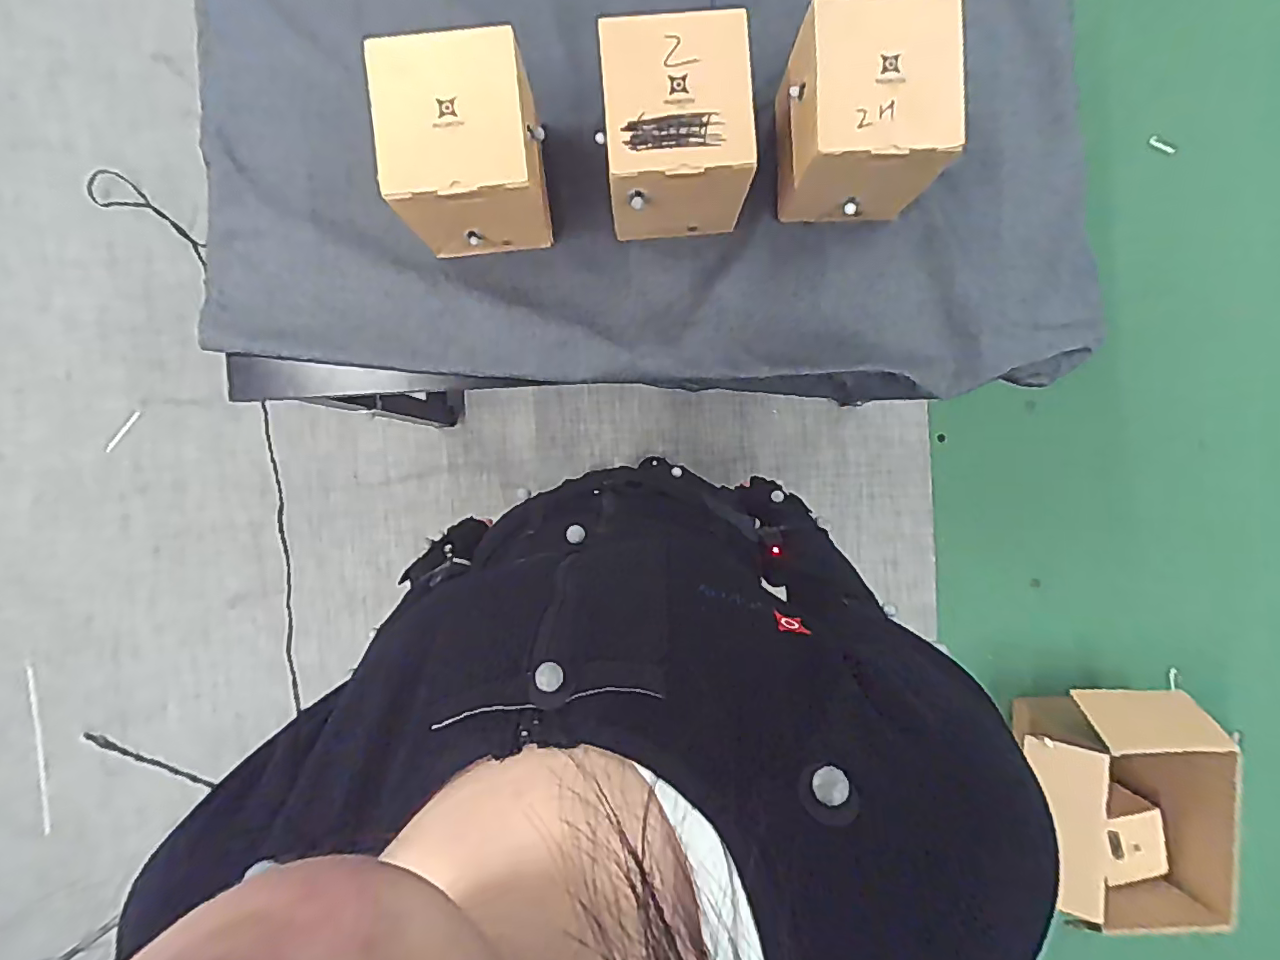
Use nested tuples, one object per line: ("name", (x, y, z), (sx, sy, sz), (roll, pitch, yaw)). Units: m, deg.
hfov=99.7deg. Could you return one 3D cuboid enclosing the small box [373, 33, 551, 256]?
("small box", (-0.212, -0.409, 0.685), (0.168, 0.176, 0.179), (-6, 92, -1))
